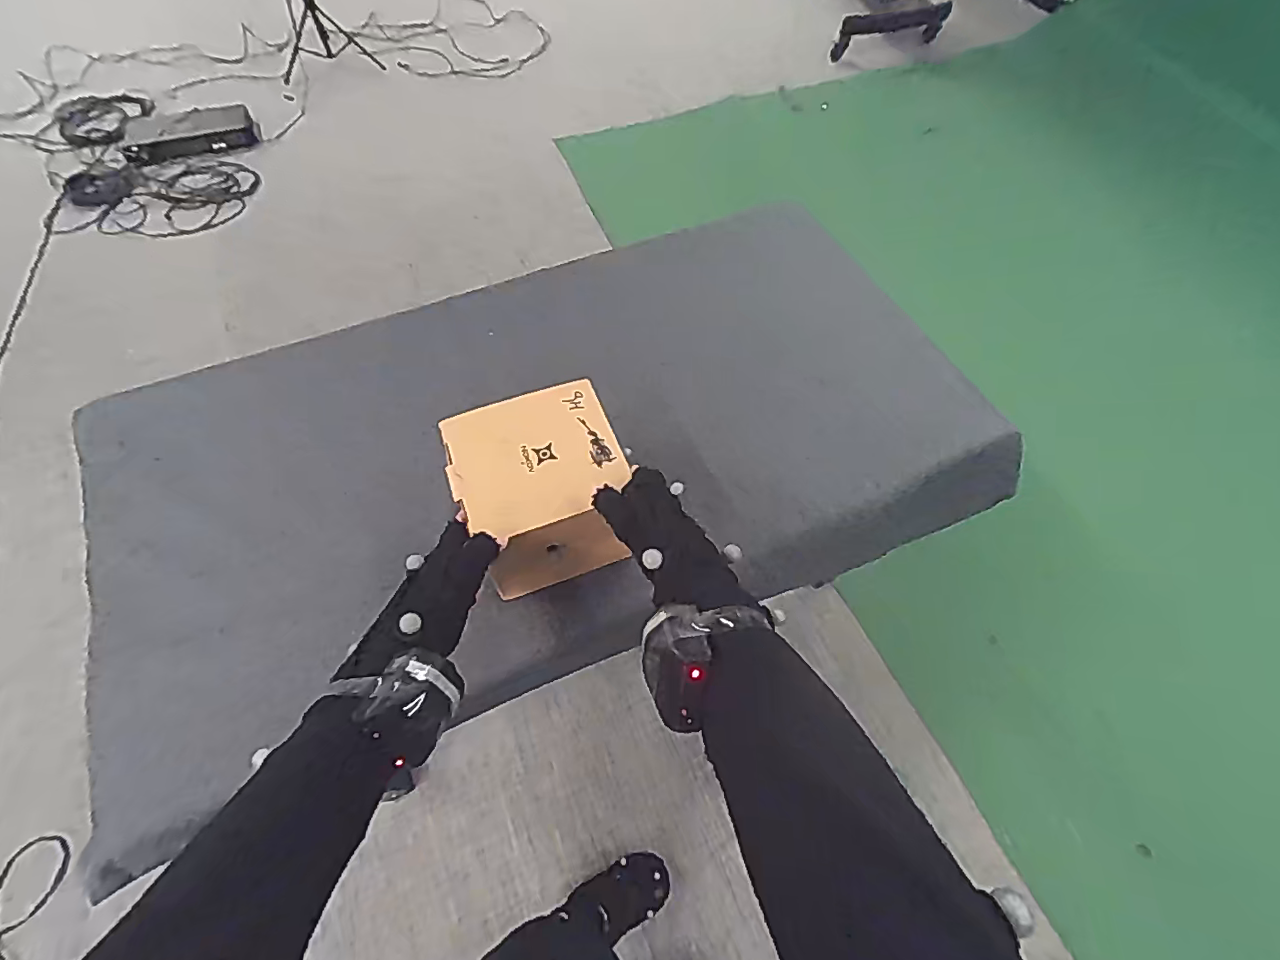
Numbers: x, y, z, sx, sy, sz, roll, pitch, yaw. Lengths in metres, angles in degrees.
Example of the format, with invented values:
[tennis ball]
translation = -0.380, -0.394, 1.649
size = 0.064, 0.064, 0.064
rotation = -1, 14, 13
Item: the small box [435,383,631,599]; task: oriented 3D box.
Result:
[small box]
translation = -0.117, 0.020, 0.638
size = 0.179, 0.176, 0.168
rotation = -19, 63, -11
